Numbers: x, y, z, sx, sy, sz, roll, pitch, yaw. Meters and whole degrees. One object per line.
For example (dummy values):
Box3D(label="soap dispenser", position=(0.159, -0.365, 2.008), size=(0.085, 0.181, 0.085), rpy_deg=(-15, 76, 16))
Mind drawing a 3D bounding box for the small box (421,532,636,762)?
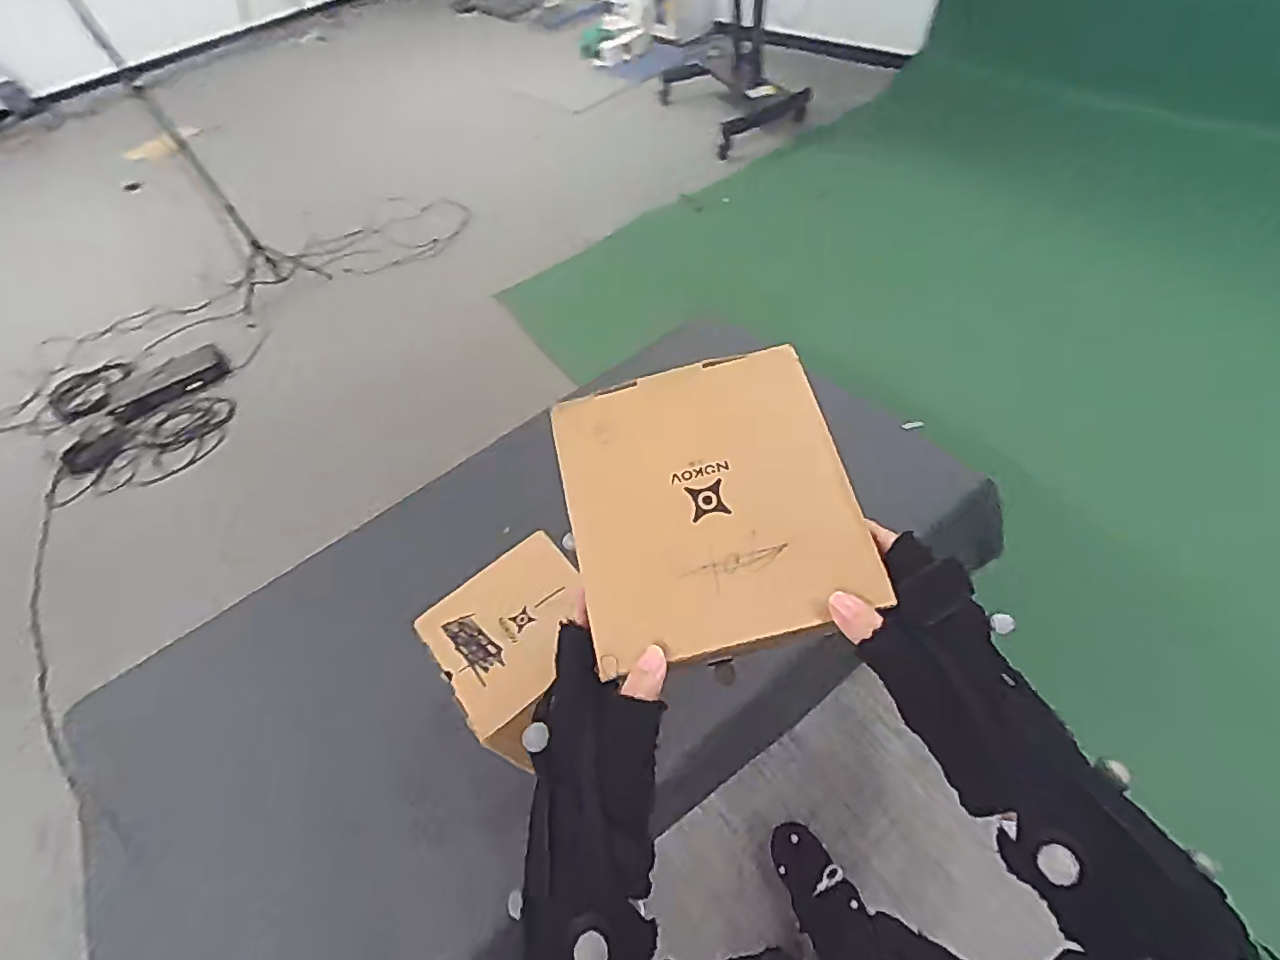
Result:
Box3D(label="small box", position=(-0.119, 0.203, 0.648), size=(0.179, 0.176, 0.168), rpy_deg=(-36, 55, -17))

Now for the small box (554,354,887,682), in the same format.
Box3D(label="small box", position=(0.046, 0.041, 0.394), size=(0.168, 0.176, 0.179), rpy_deg=(-13, 69, 3))
